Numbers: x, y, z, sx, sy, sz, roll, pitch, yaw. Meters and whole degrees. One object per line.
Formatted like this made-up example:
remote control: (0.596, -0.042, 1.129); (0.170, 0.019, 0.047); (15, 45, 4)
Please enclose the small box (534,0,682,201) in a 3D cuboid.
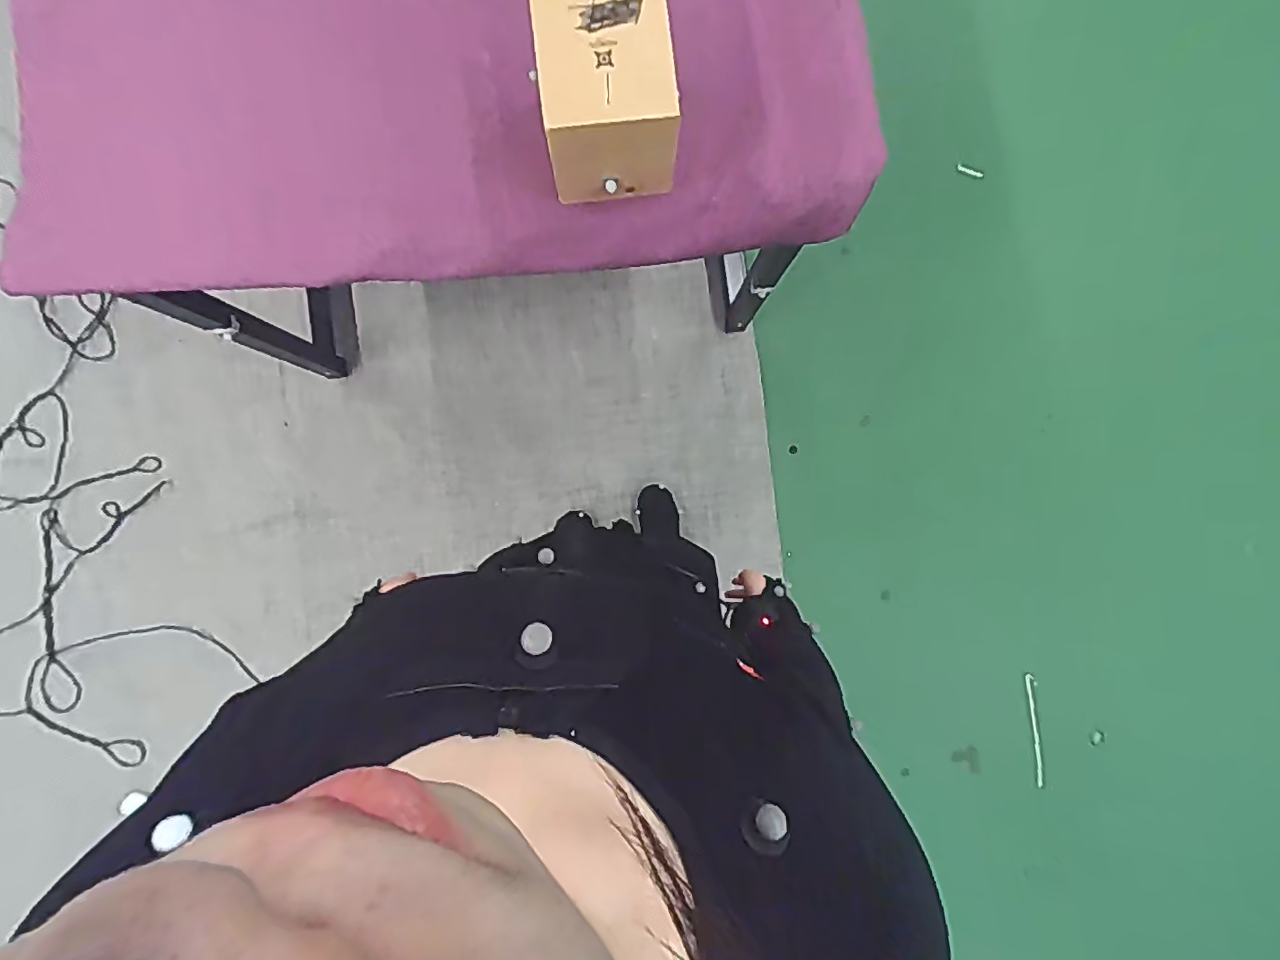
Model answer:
small box: (-0.042, -0.507, 0.723); (0.168, 0.176, 0.179); (-6, 89, -1)
